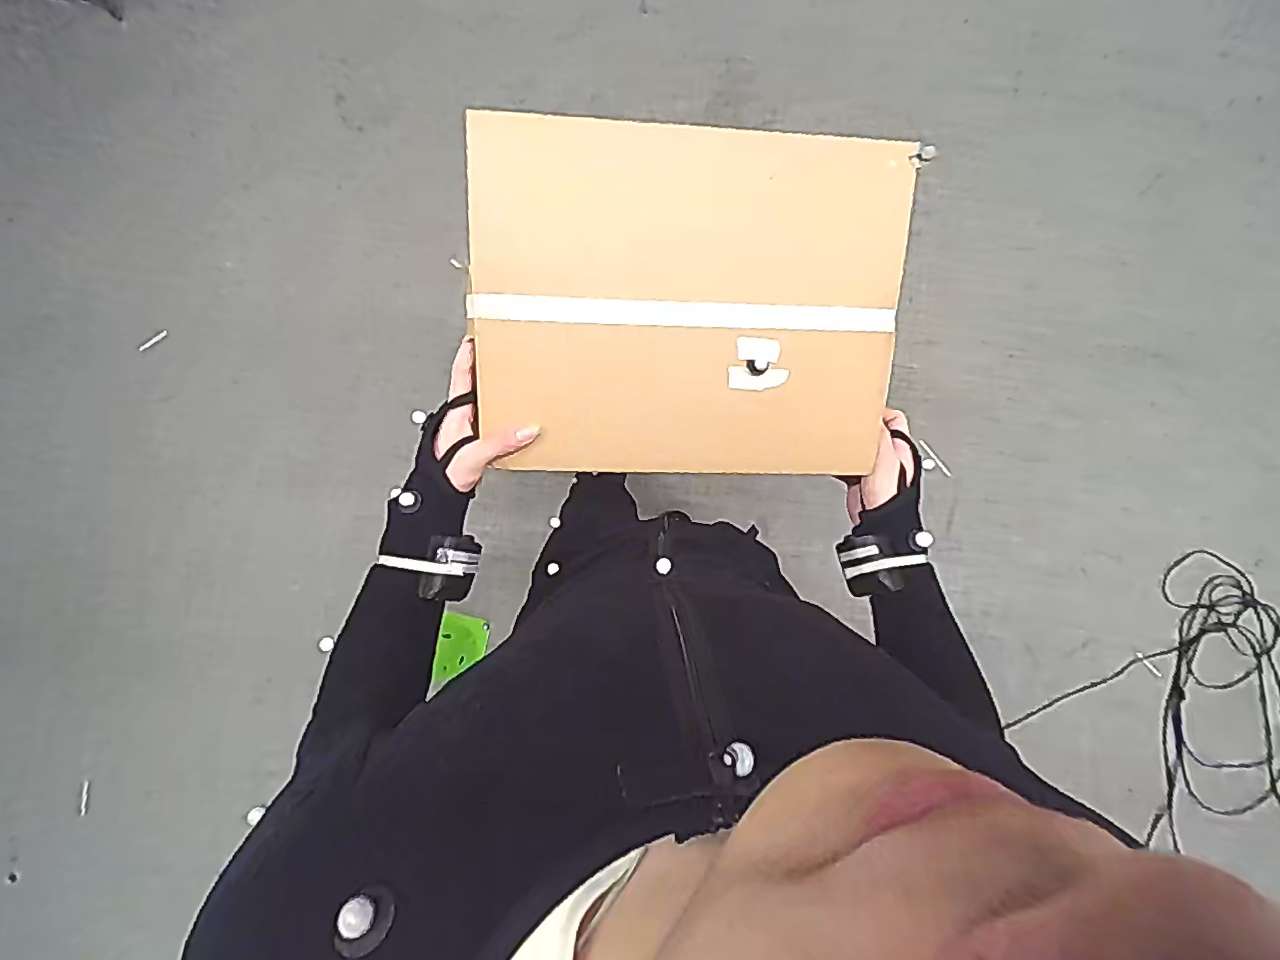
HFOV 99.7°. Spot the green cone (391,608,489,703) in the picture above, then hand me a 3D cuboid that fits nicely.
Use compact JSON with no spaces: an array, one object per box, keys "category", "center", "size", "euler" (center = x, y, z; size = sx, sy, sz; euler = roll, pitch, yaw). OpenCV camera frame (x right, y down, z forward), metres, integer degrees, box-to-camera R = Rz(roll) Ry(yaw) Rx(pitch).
[{"category":"green cone","center":[-0.570,0.500,1.456],"size":[0.200,0.368,0.202],"euler":[12,91,1]}]

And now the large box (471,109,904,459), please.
[{"category":"large box","center":[0.032,-0.209,0.664],"size":[0.408,0.320,0.320],"euler":[0,105,-6]}]
